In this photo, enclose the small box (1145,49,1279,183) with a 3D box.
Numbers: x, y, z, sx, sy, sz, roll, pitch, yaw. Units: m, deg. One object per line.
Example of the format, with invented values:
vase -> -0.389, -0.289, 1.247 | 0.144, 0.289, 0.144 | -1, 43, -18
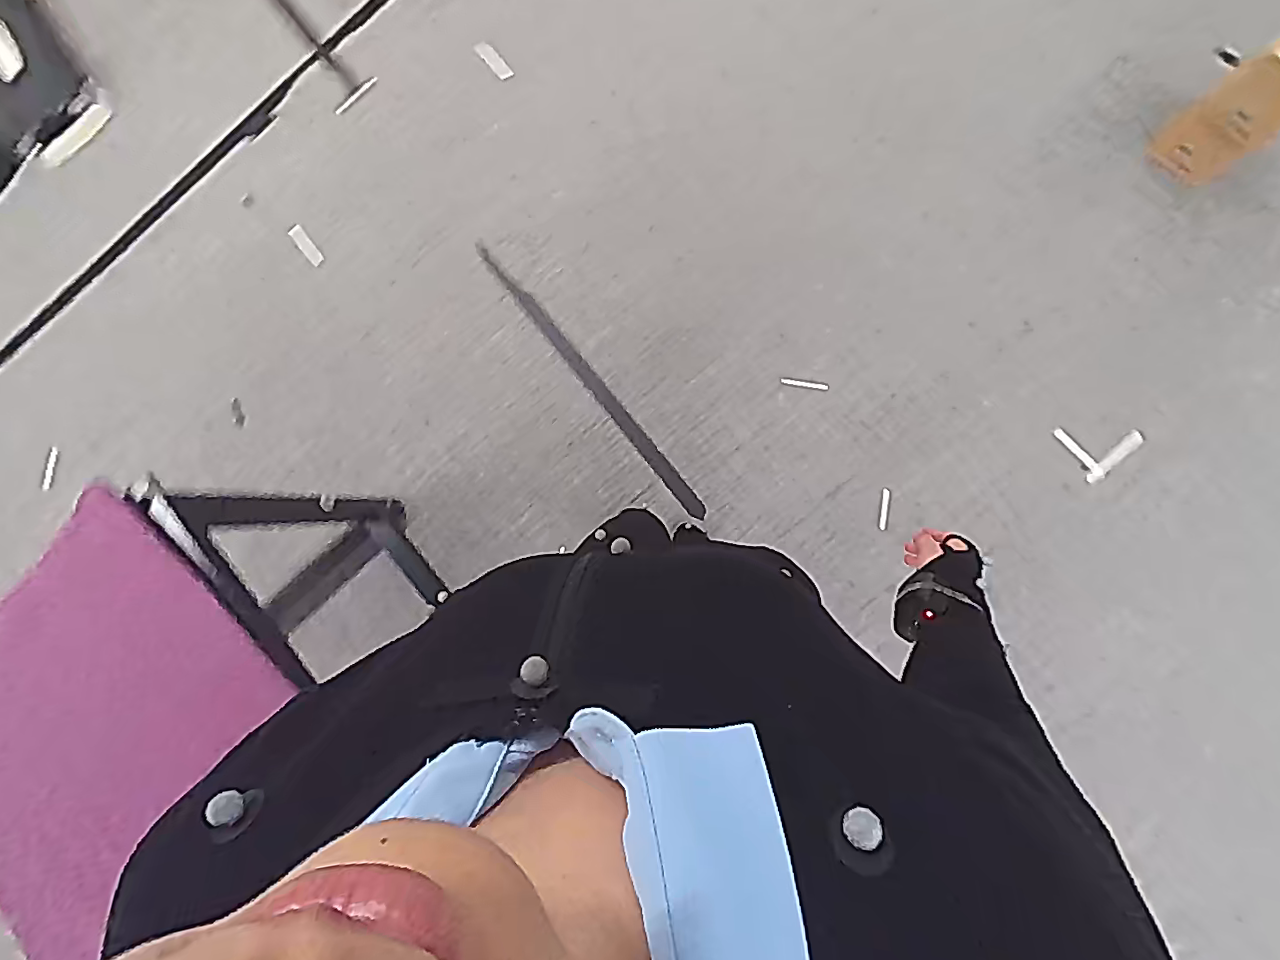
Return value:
small box -> 1.430, -0.890, 1.338 | 0.168, 0.176, 0.179 | 44, 92, 7
